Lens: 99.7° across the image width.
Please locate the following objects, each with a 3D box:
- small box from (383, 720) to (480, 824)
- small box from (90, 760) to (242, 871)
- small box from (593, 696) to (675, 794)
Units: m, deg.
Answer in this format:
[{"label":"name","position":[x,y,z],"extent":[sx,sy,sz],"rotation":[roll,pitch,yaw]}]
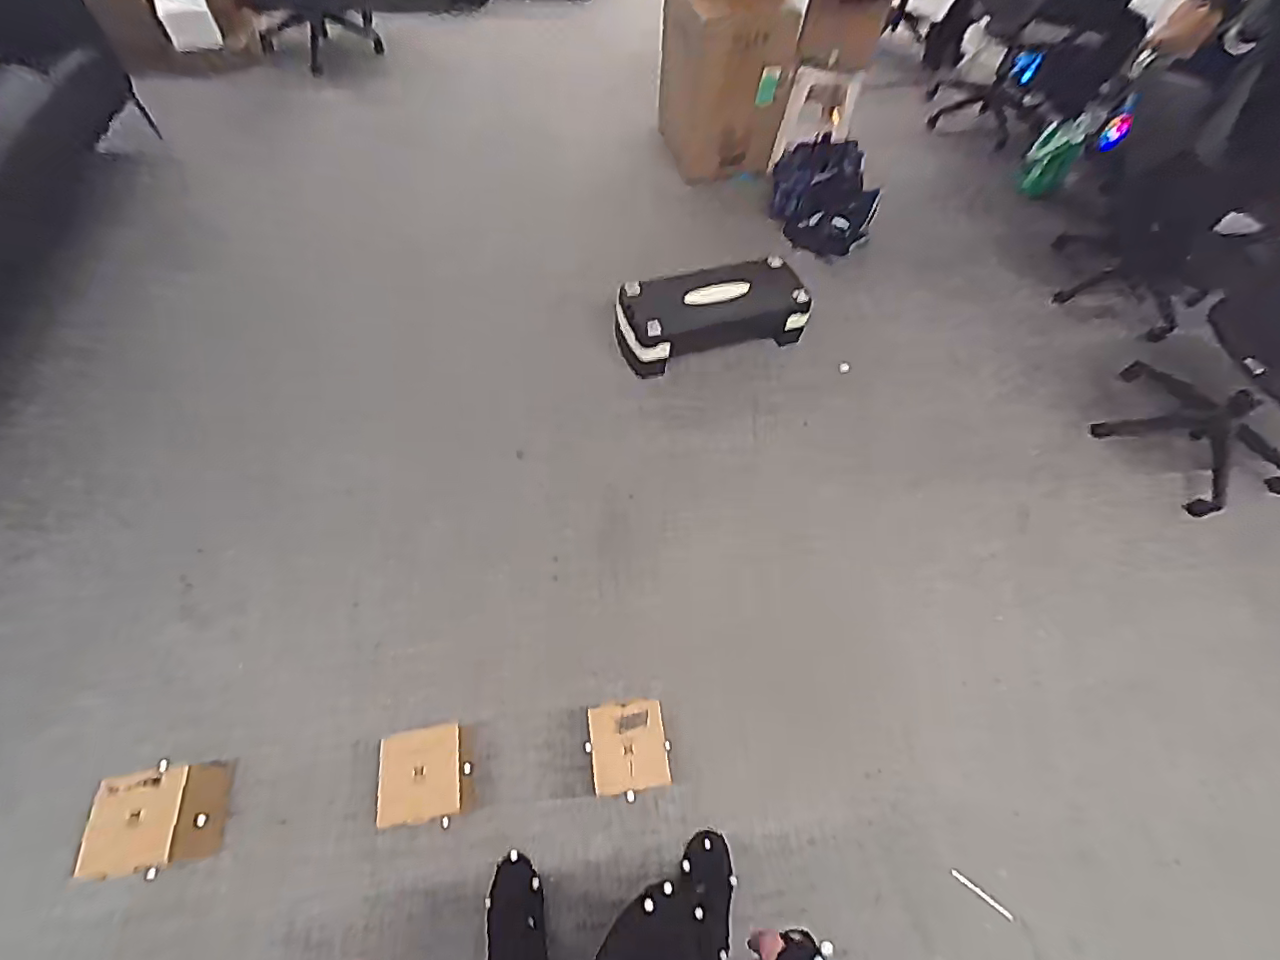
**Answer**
[{"label":"small box","position":[-0.462,0.657,1.218],"extent":[0.168,0.176,0.179],"rotation":[-8,59,-8]},{"label":"small box","position":[-0.998,0.711,1.161],"extent":[0.168,0.176,0.179],"rotation":[-6,61,-7]},{"label":"small box","position":[-0.018,0.618,1.254],"extent":[0.168,0.176,0.179],"rotation":[-7,60,-5]}]
